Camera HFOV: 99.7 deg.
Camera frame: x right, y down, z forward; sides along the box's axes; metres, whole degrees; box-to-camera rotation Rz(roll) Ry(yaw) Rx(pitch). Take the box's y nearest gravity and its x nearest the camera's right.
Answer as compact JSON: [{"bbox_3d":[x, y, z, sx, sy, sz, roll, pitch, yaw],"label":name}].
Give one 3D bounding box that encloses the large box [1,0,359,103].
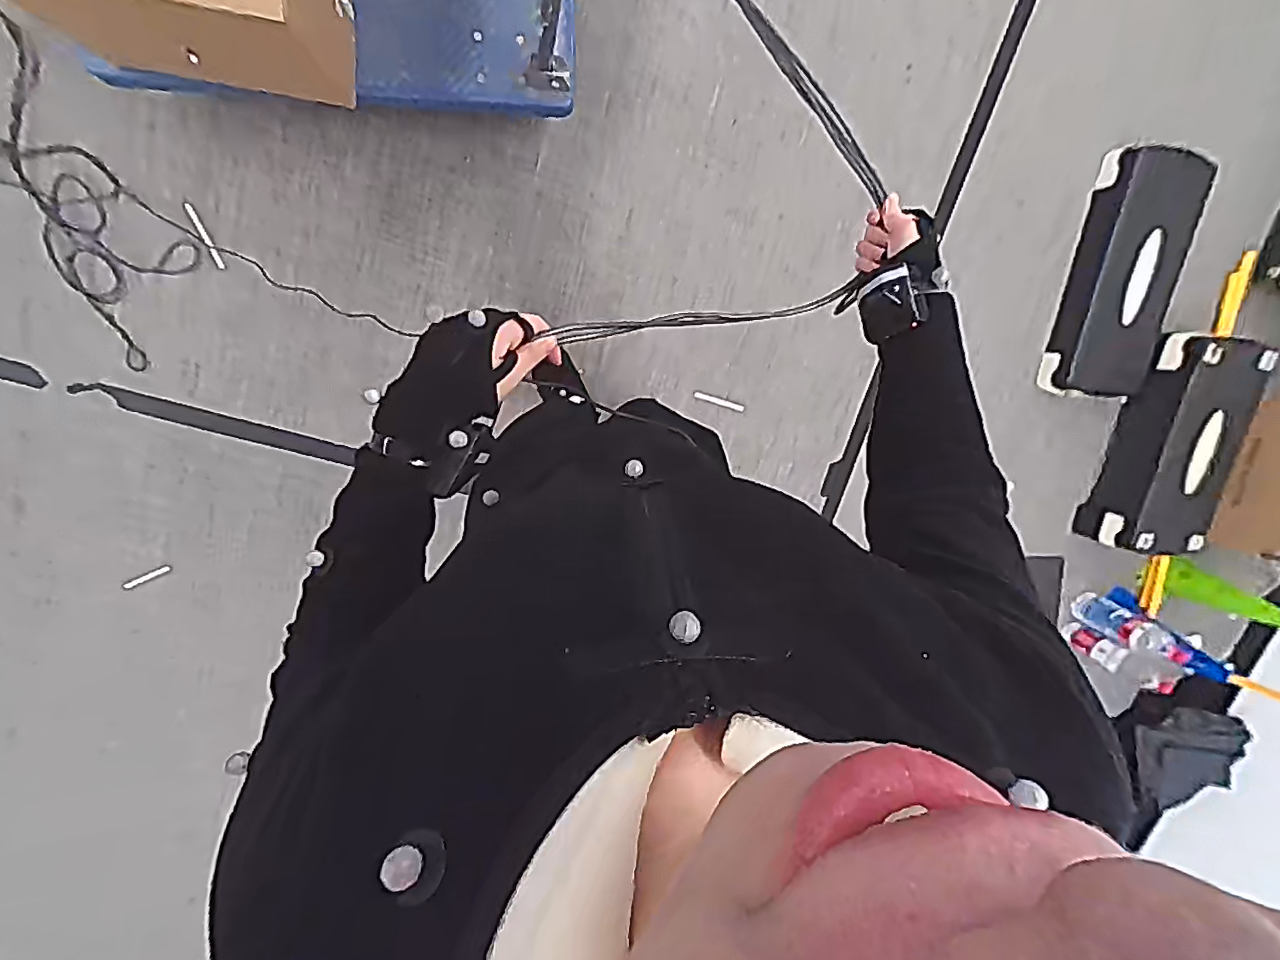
[{"bbox_3d":[-0.691,-0.821,0.812,0.408,0.320,0.320,3,104,-11],"label":"large box"}]
